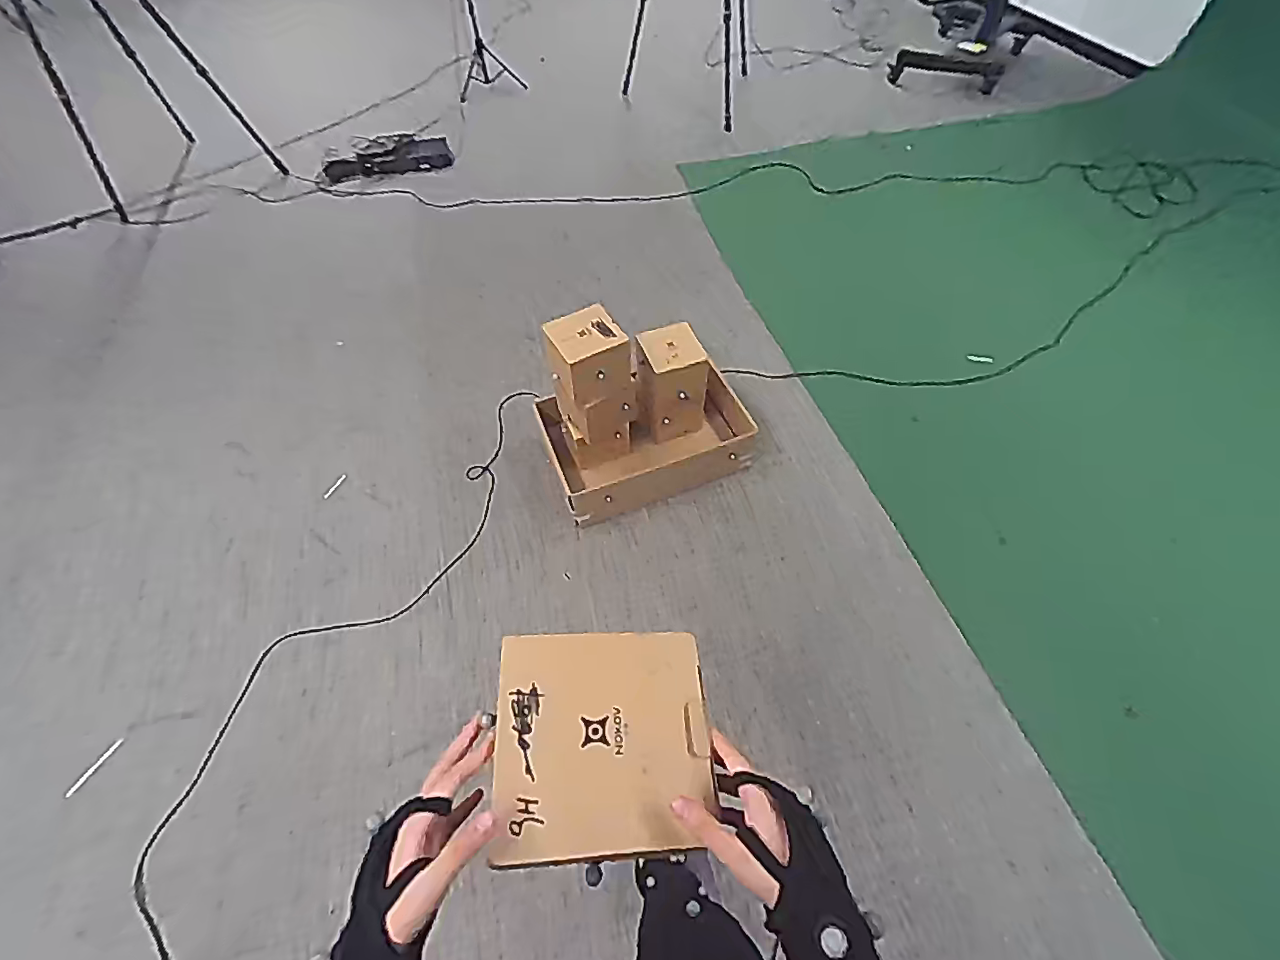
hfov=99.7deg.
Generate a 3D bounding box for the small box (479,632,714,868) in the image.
[{"bbox_3d":[-0.048,0.252,0.503,0.179,0.176,0.168,2,52,-10],"label":"small box"}]

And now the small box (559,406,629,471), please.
[{"bbox_3d":[-0.142,-0.153,1.723,0.179,0.176,0.168,-18,58,-12],"label":"small box"}]

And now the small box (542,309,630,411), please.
[{"bbox_3d":[-0.140,-0.318,1.442,0.179,0.176,0.168,-27,60,-16],"label":"small box"}]

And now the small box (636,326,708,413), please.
[{"bbox_3d":[0.092,-0.333,1.638,0.168,0.176,0.179,-18,58,-9],"label":"small box"}]

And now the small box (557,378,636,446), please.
[{"bbox_3d":[-0.130,-0.233,1.582,0.179,0.176,0.168,-33,63,-20],"label":"small box"}]
